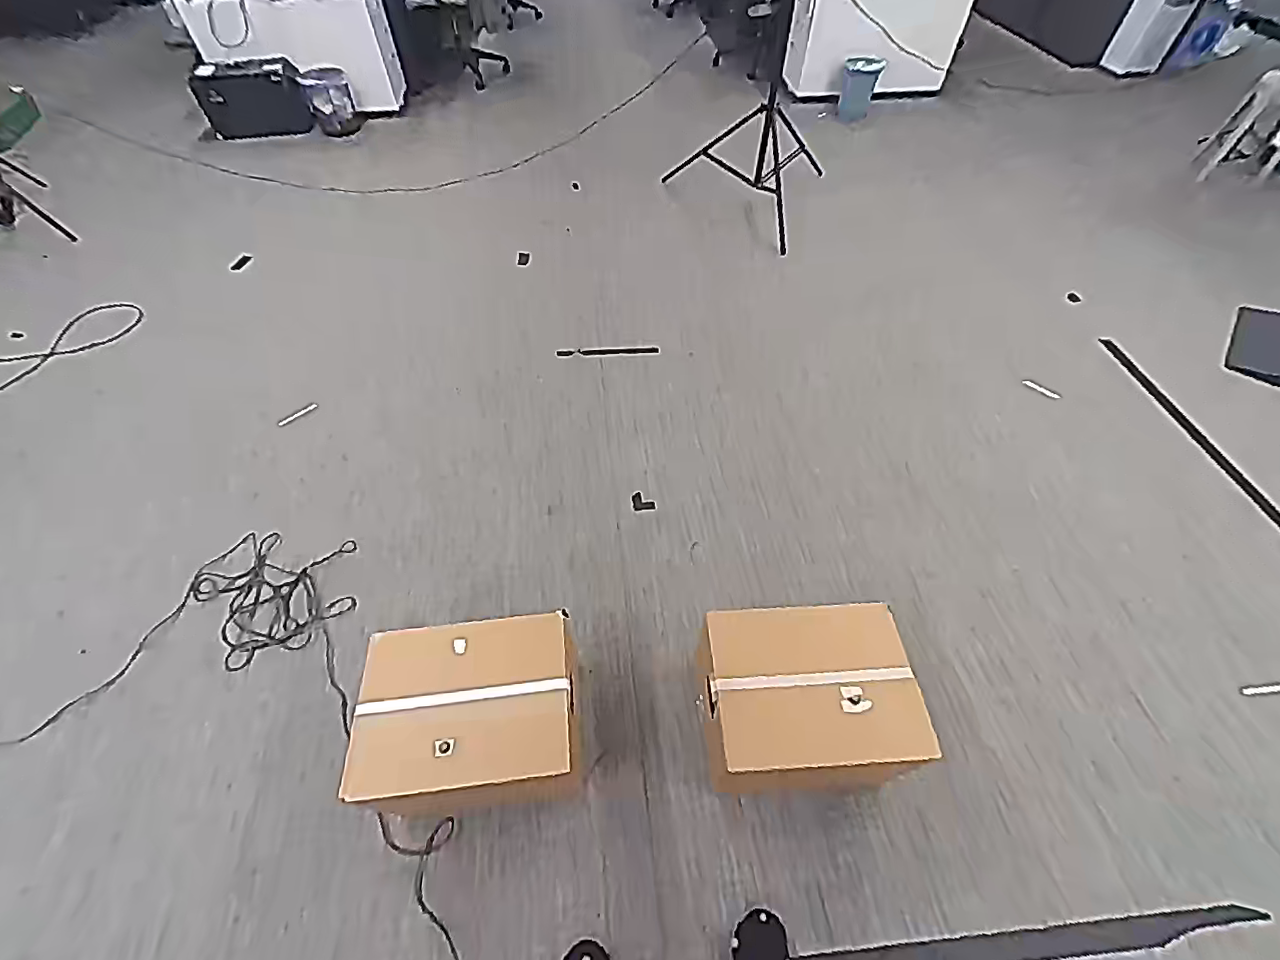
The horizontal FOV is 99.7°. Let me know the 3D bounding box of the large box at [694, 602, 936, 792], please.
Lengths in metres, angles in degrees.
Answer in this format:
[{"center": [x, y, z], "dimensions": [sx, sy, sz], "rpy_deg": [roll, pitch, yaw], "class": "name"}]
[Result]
[{"center": [0.349, 0.490, 1.213], "dimensions": [0.408, 0.320, 0.320], "rpy_deg": [-2, 53, -3], "class": "large box"}]
